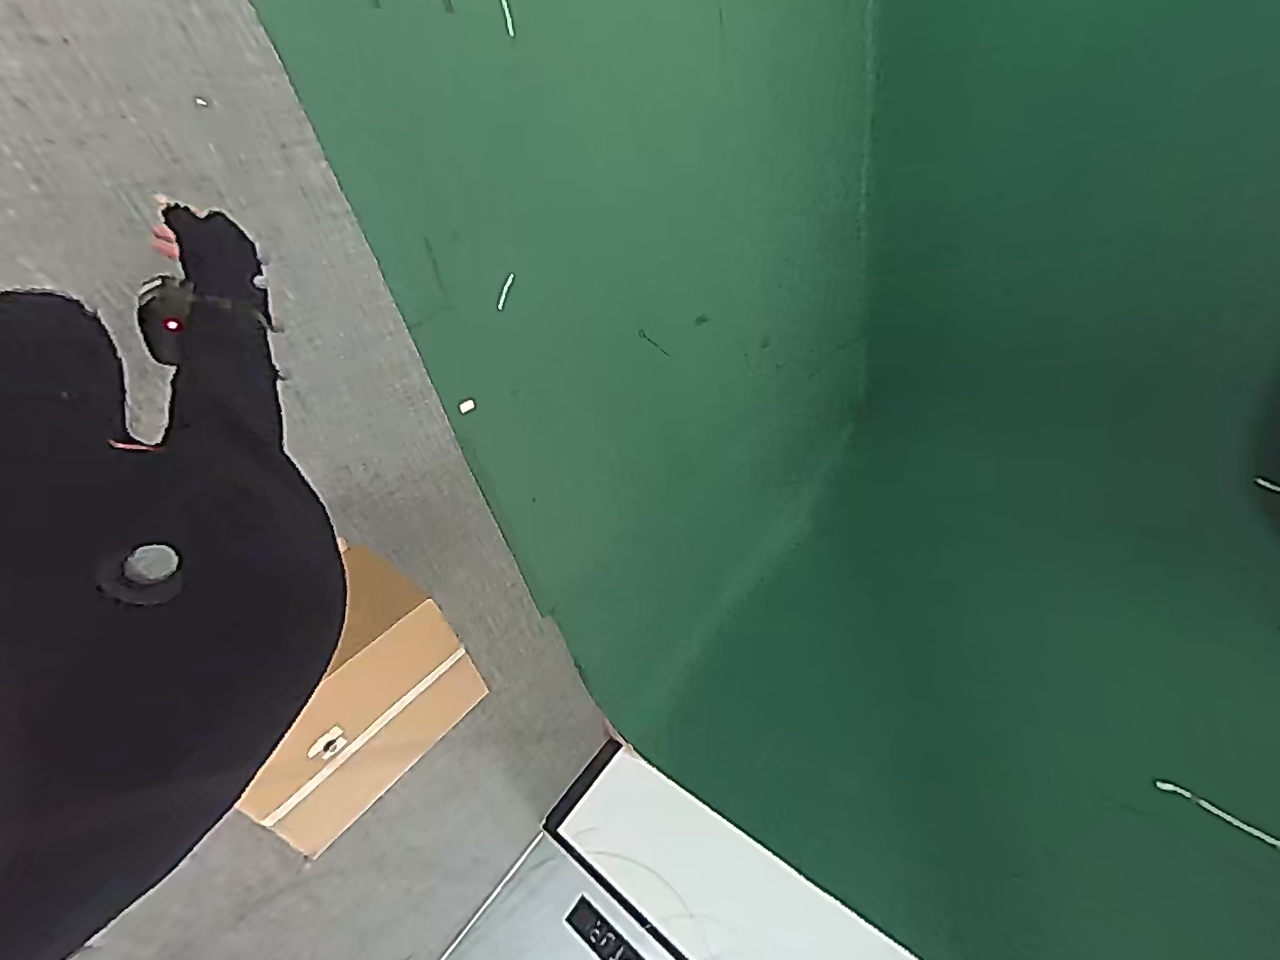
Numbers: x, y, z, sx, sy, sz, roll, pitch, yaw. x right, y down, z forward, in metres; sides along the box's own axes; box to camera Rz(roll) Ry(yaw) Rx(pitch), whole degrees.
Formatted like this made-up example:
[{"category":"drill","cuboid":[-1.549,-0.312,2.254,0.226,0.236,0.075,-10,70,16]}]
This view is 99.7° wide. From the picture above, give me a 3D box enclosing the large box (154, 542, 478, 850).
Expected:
[{"category":"large box","cuboid":[-0.613,0.397,1.075,0.408,0.320,0.320,-40,134,-34]}]
